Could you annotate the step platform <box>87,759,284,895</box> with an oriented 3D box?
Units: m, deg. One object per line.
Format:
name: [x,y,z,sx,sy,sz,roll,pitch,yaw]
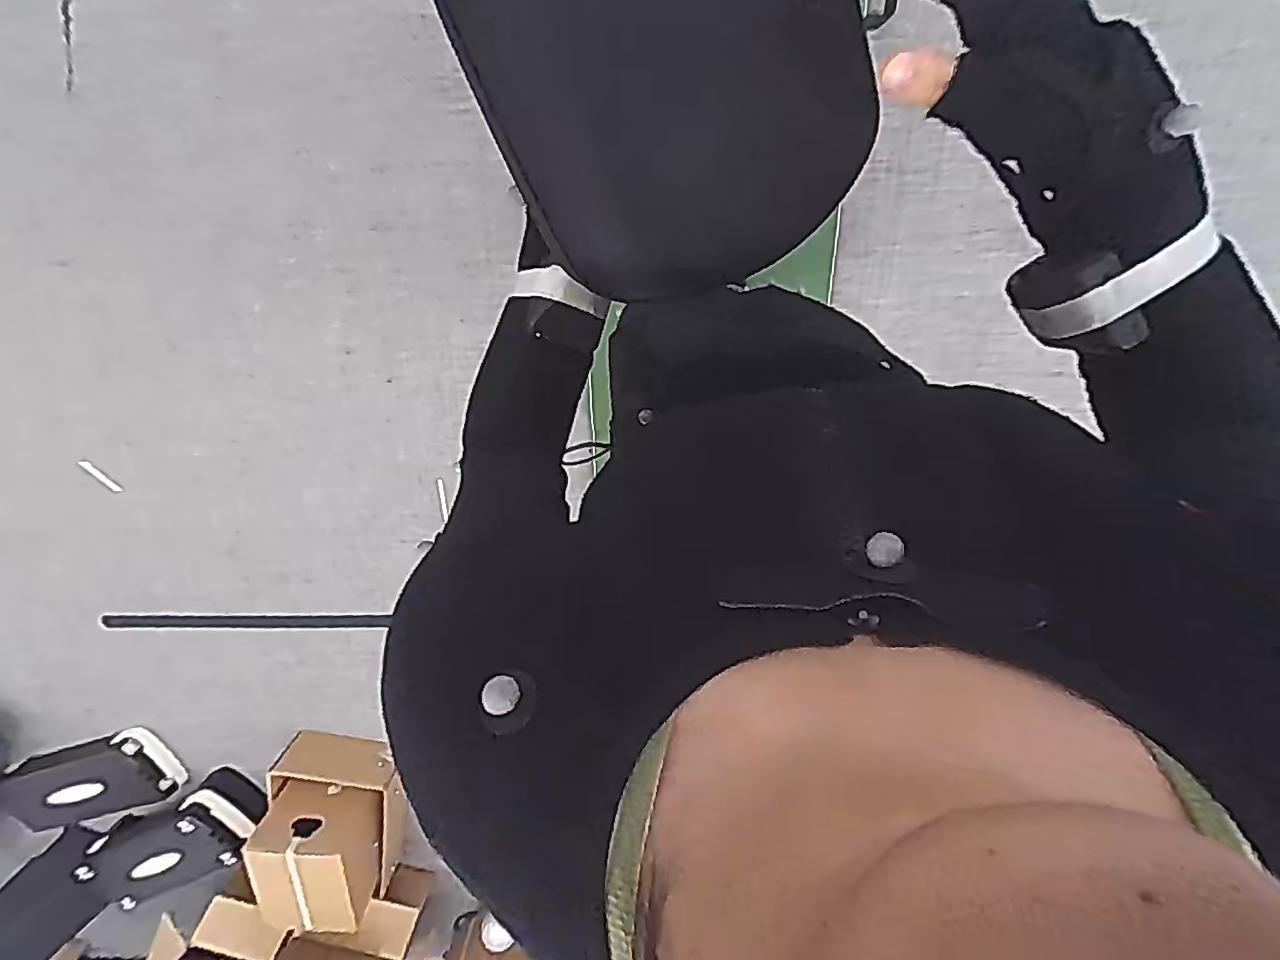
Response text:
step platform: [-1.749,1.340,2.081,0.684,0.204,0.286,-28,110,12]
